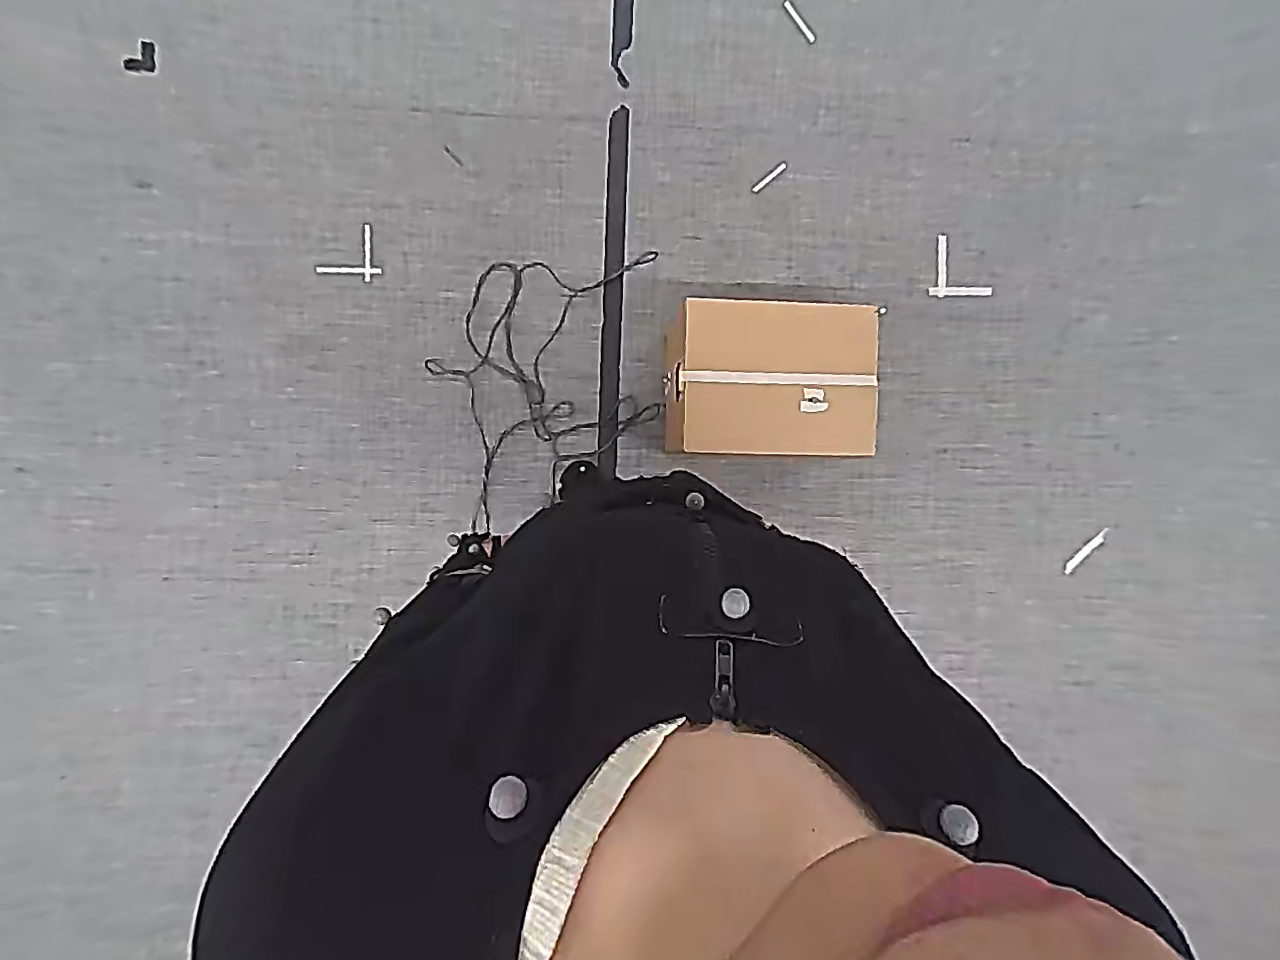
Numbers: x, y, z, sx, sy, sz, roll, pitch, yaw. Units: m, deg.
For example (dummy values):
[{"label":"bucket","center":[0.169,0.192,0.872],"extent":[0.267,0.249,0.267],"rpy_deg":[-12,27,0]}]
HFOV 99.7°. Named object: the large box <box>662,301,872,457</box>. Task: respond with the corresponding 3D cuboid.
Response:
[{"label":"large box","center":[0.269,-0.211,1.257],"extent":[0.408,0.320,0.320],"rpy_deg":[0,92,-5]}]
